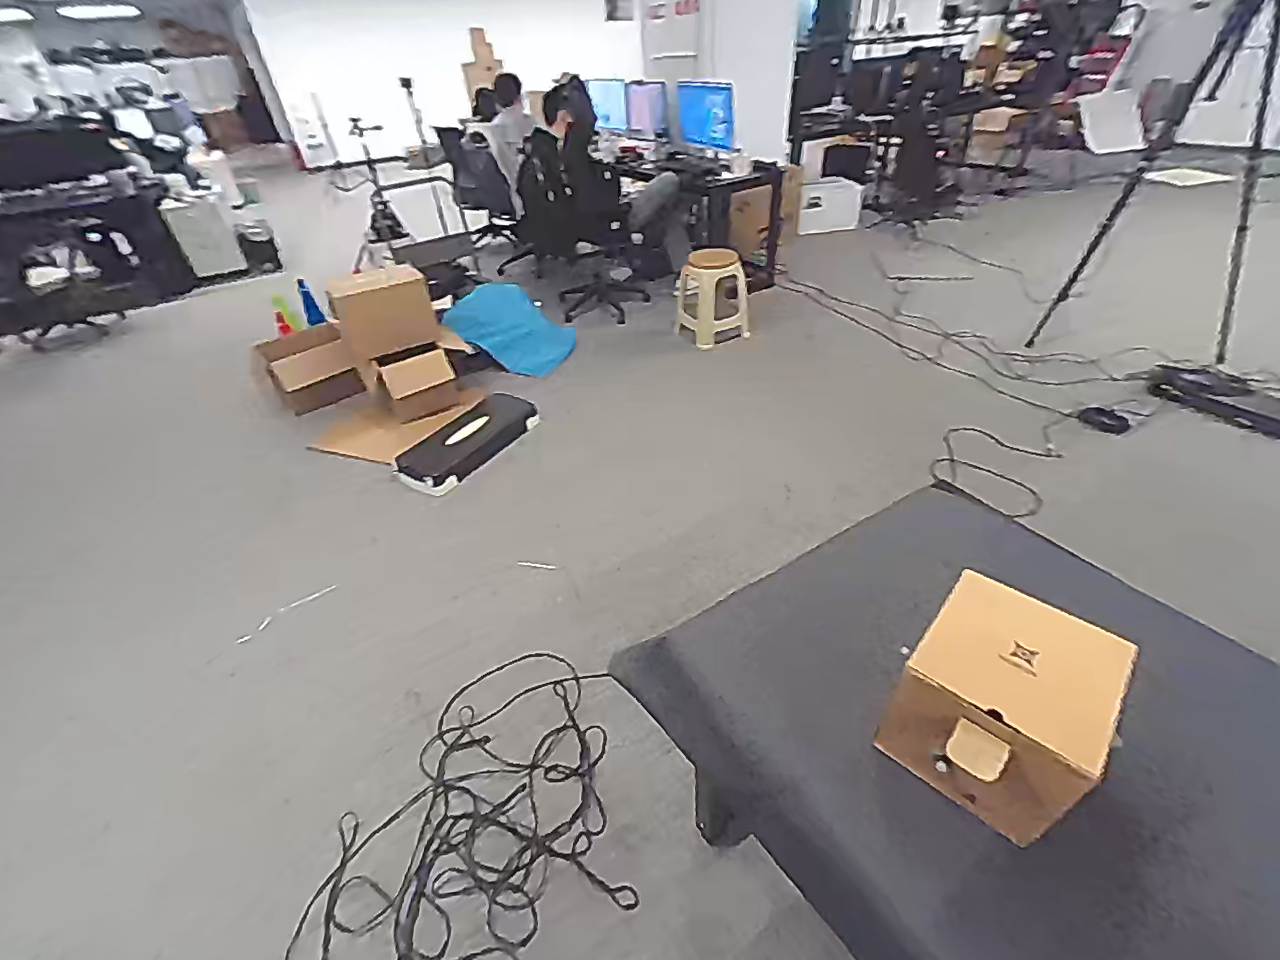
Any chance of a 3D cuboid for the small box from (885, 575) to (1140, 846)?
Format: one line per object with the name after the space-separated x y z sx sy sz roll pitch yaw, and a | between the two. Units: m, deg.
0.396 0.247 0.596 0.168 0.176 0.179 28 49 34 | small box
